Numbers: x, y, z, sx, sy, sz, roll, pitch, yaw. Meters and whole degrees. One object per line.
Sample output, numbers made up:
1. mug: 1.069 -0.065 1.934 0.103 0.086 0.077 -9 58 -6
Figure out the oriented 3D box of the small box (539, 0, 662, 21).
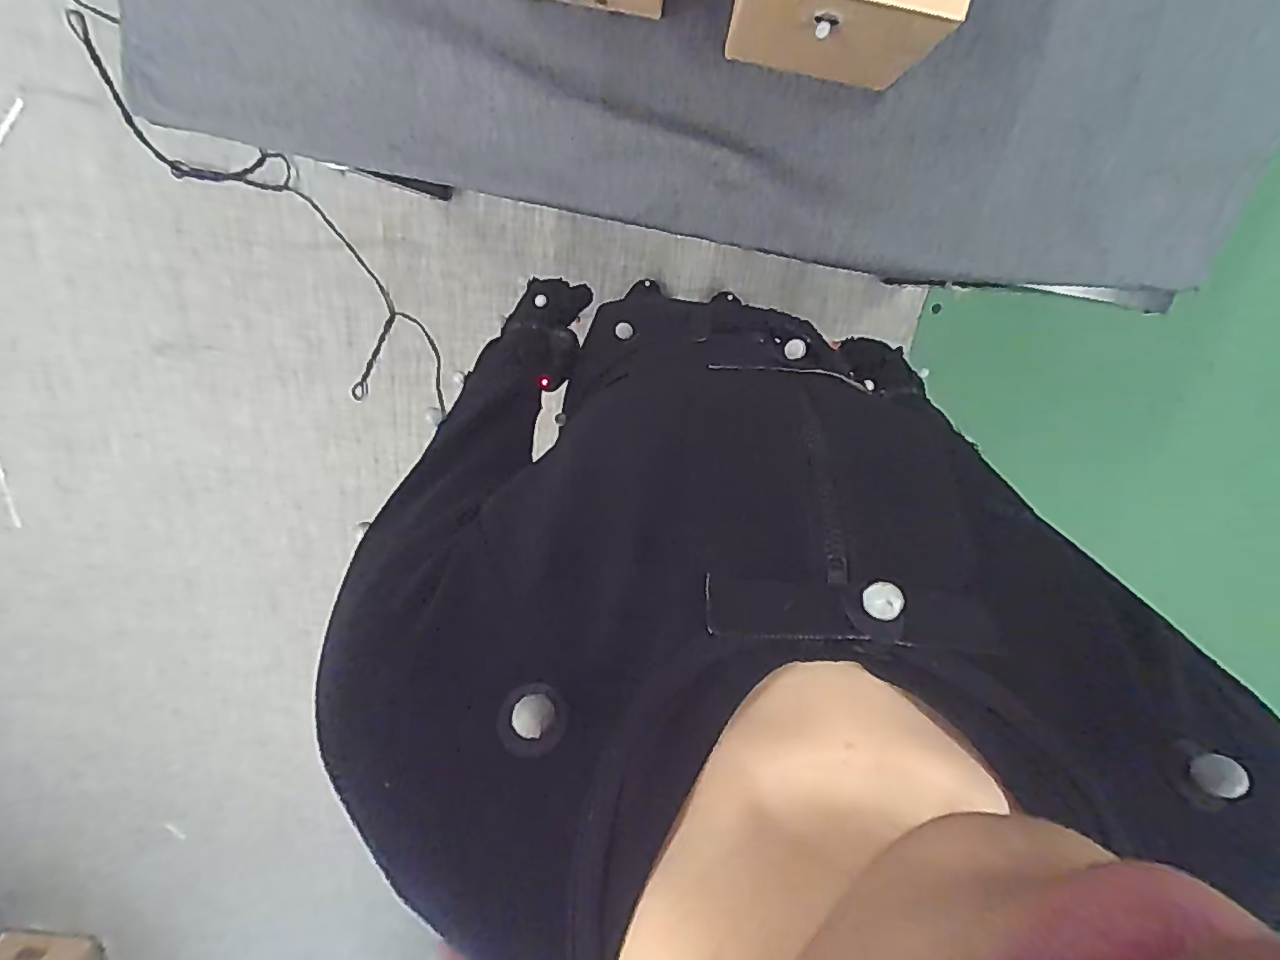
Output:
1. small box: -0.049 -0.544 0.458 0.168 0.176 0.179 10 110 -1
